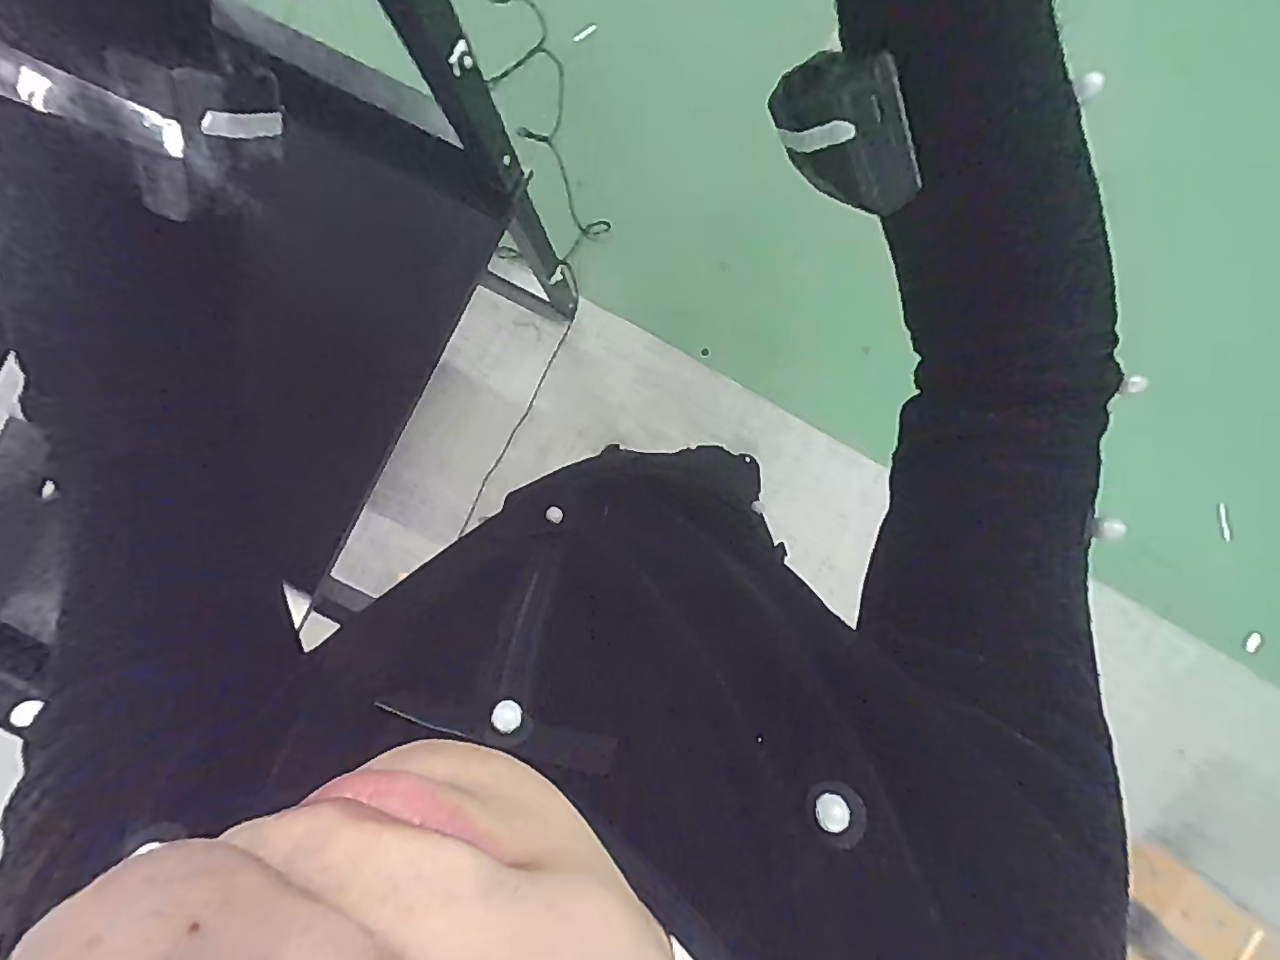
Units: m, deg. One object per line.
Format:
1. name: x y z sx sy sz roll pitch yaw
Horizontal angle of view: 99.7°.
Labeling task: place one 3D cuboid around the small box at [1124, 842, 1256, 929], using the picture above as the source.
1. small box: 1.560 1.186 1.545 0.179 0.176 0.168 31 92 1

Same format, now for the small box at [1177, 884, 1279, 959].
1. small box: 1.556 1.191 1.384 0.179 0.176 0.168 28 91 0
